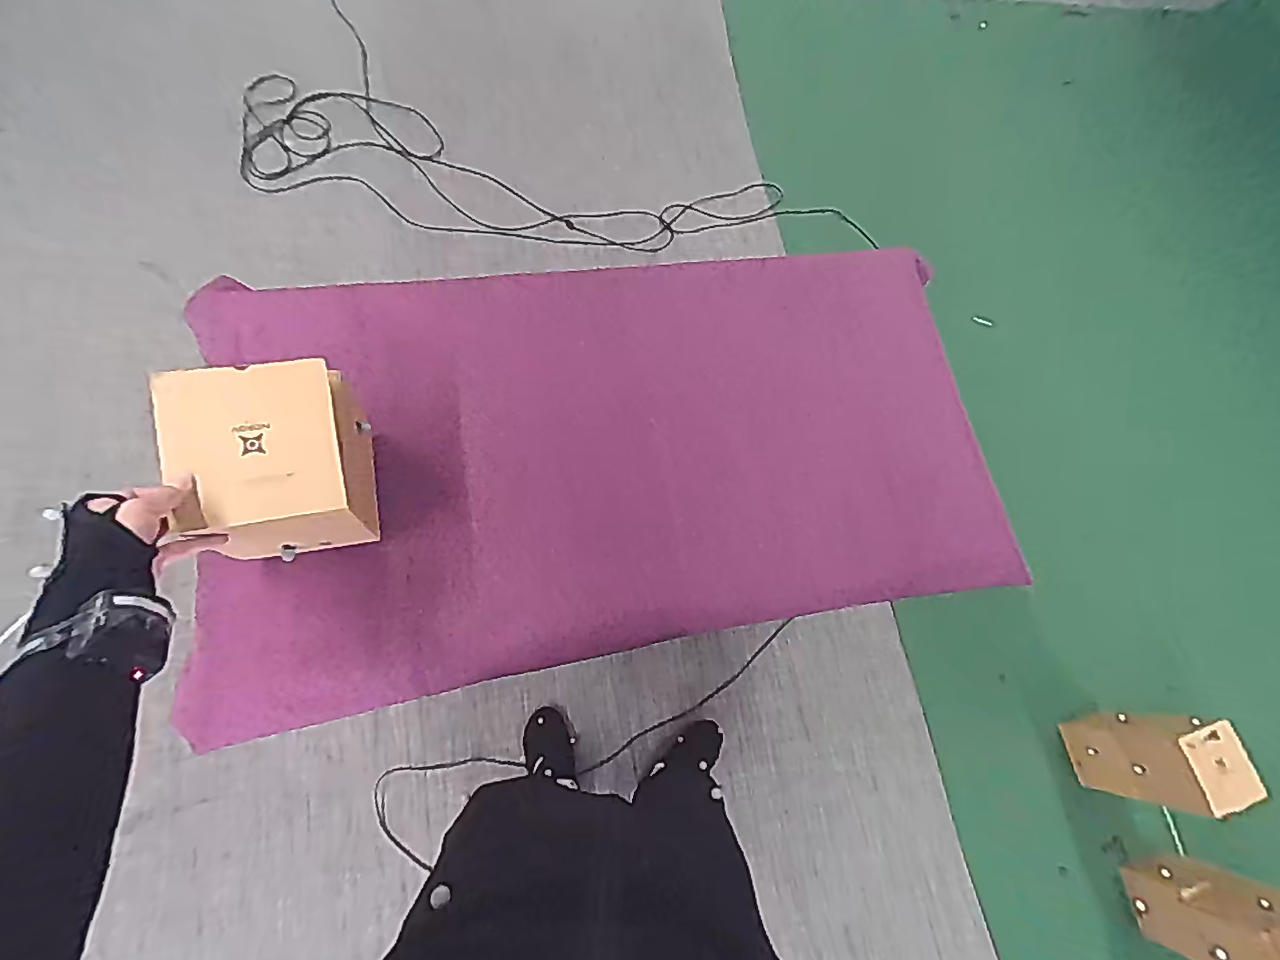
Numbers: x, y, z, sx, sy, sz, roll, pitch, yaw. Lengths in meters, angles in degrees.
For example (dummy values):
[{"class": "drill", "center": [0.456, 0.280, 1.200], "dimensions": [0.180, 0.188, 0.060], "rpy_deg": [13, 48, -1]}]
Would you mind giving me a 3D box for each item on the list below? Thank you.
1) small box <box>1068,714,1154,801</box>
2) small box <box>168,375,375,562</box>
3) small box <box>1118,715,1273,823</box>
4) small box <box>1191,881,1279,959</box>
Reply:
[{"class": "small box", "center": [1.319, 0.748, 1.472], "dimensions": [0.179, 0.176, 0.168], "rpy_deg": [-9, 73, -11]}, {"class": "small box", "center": [-0.439, -0.010, 0.671], "dimensions": [0.168, 0.176, 0.179], "rpy_deg": [-8, 74, -16]}, {"class": "small box", "center": [1.342, 0.694, 1.319], "dimensions": [0.168, 0.176, 0.179], "rpy_deg": [-11, 75, -12]}, {"class": "small box", "center": [1.425, 1.052, 1.216], "dimensions": [0.179, 0.176, 0.168], "rpy_deg": [-17, 75, -12]}]
